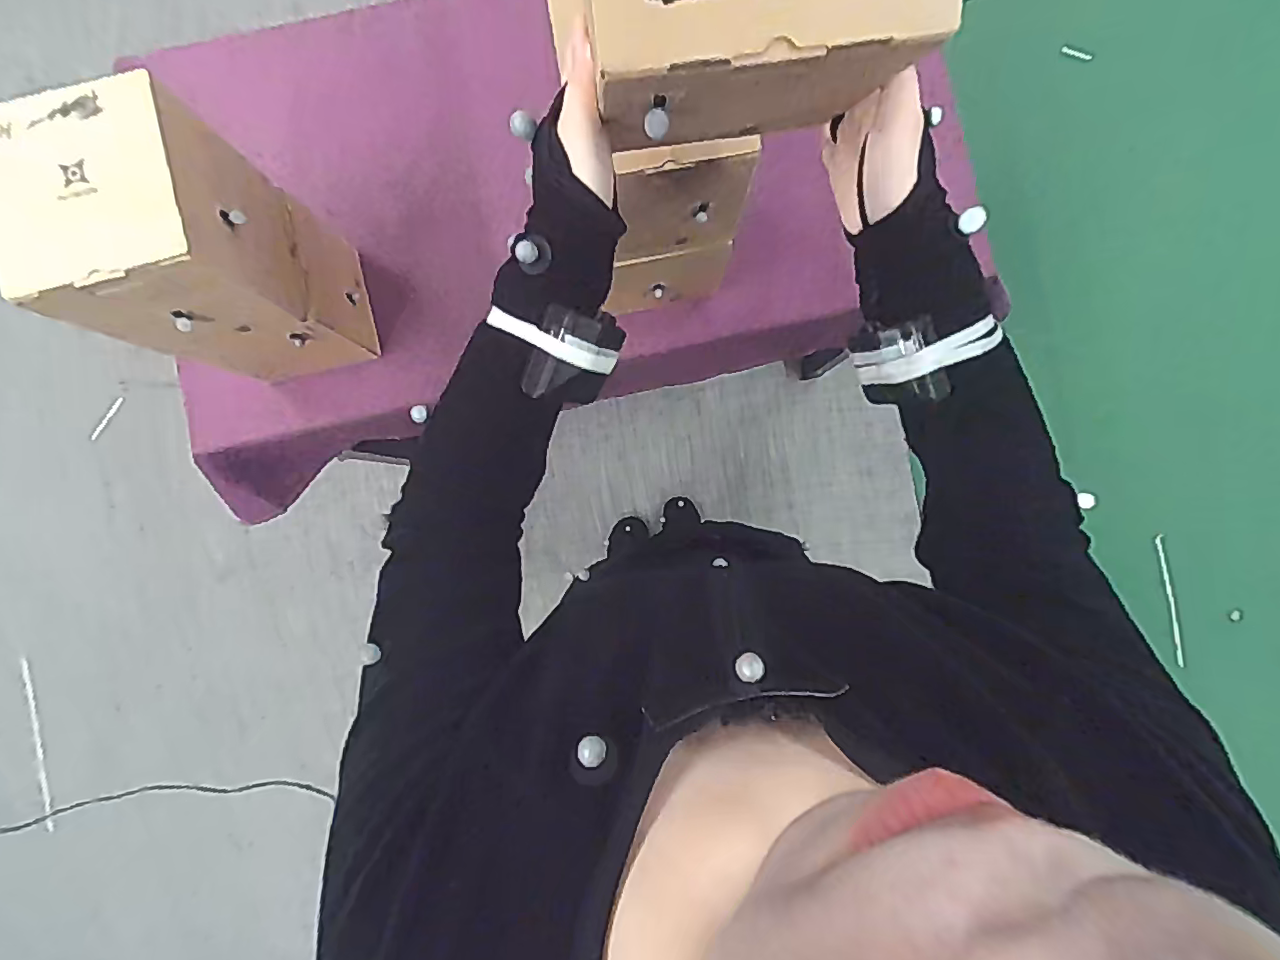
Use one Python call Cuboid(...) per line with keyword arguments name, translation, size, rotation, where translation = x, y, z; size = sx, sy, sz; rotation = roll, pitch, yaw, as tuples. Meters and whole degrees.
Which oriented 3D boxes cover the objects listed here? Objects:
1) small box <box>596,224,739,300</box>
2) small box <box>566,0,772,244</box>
Cuboid(name="small box", translation=(0.024, -0.351, 0.710), size=(0.168, 0.176, 0.179), rotation=(-9, 88, -1))
Cuboid(name="small box", translation=(0.025, -0.359, 0.547), size=(0.168, 0.176, 0.179), rotation=(-7, 88, -1))
